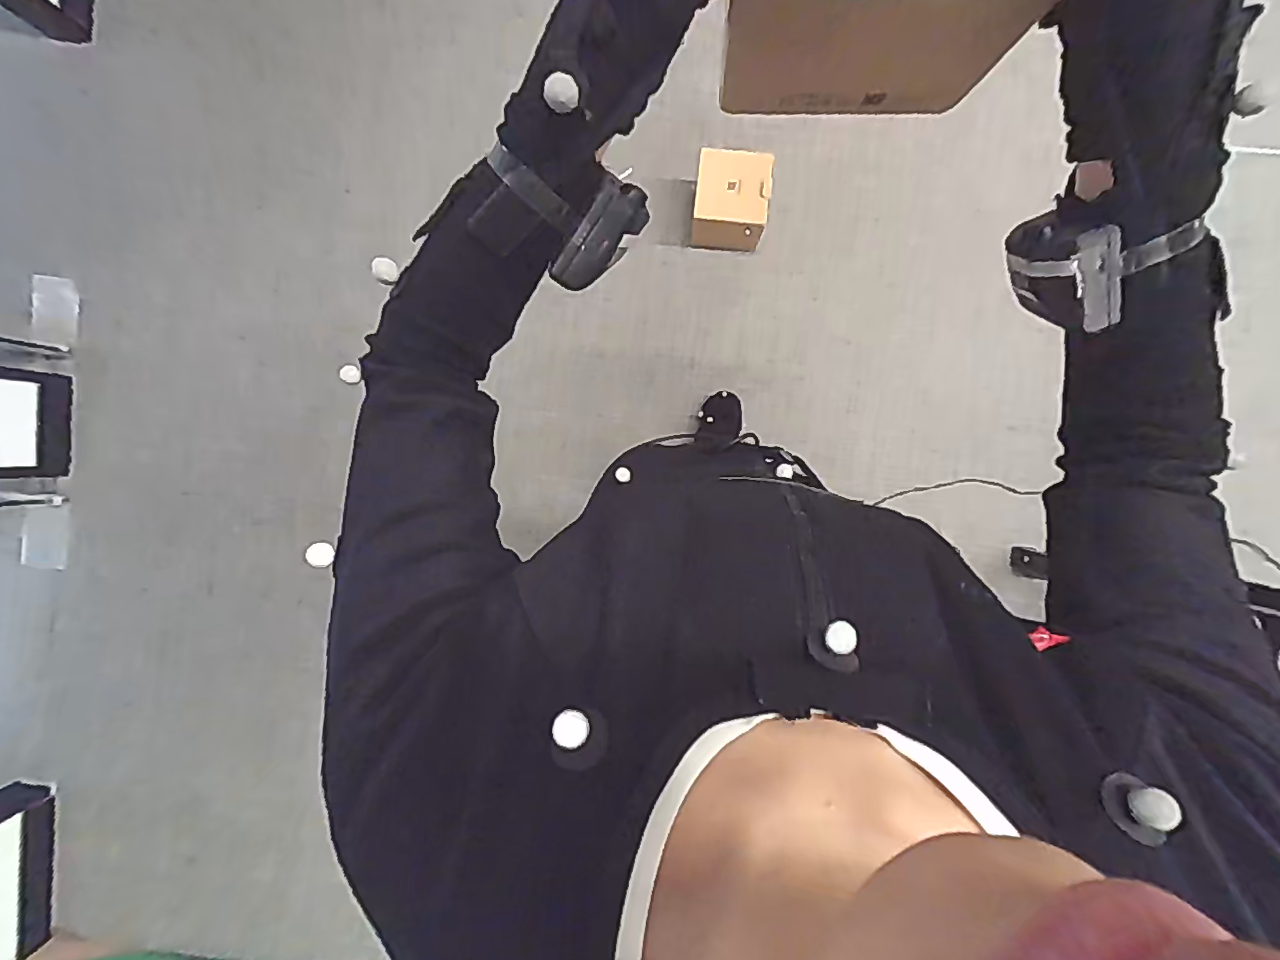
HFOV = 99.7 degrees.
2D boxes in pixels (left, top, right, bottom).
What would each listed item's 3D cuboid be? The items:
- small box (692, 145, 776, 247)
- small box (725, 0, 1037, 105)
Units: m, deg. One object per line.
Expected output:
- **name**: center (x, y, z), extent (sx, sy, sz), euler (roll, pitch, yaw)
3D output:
- **small box**: center (0.227, -0.700, 1.349), extent (0.179, 0.176, 0.168), euler (7, 93, 2)
- **small box**: center (0.139, -0.346, 0.295), extent (0.168, 0.176, 0.179), euler (4, 99, 4)
